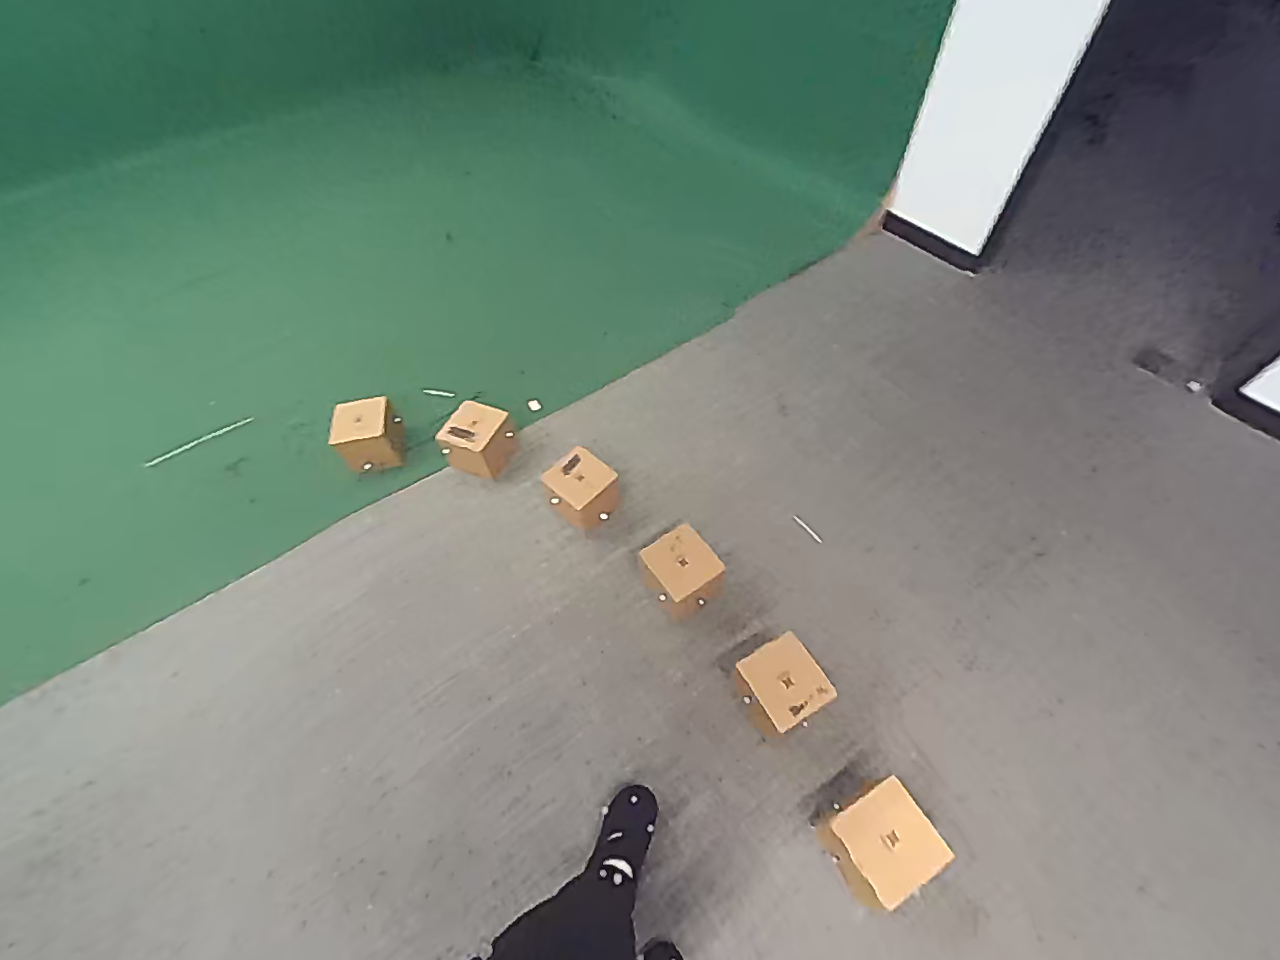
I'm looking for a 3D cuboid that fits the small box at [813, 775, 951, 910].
[{"bbox_3d":[0.491,0.748,1.128,0.179,0.176,0.168,-26,59,-14],"label":"small box"}]

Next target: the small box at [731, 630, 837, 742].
[{"bbox_3d":[0.336,0.499,1.304,0.168,0.176,0.179,-26,58,-14],"label":"small box"}]

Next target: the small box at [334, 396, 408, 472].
[{"bbox_3d":[-0.895,-0.154,1.819,0.168,0.176,0.179,-10,55,-4],"label":"small box"}]

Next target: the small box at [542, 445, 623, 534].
[{"bbox_3d":[-0.171,0.034,1.650,0.179,0.176,0.168,37,65,24],"label":"small box"}]

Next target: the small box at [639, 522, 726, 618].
[{"bbox_3d":[0.115,0.255,1.483,0.168,0.176,0.179,-30,59,-18],"label":"small box"}]
